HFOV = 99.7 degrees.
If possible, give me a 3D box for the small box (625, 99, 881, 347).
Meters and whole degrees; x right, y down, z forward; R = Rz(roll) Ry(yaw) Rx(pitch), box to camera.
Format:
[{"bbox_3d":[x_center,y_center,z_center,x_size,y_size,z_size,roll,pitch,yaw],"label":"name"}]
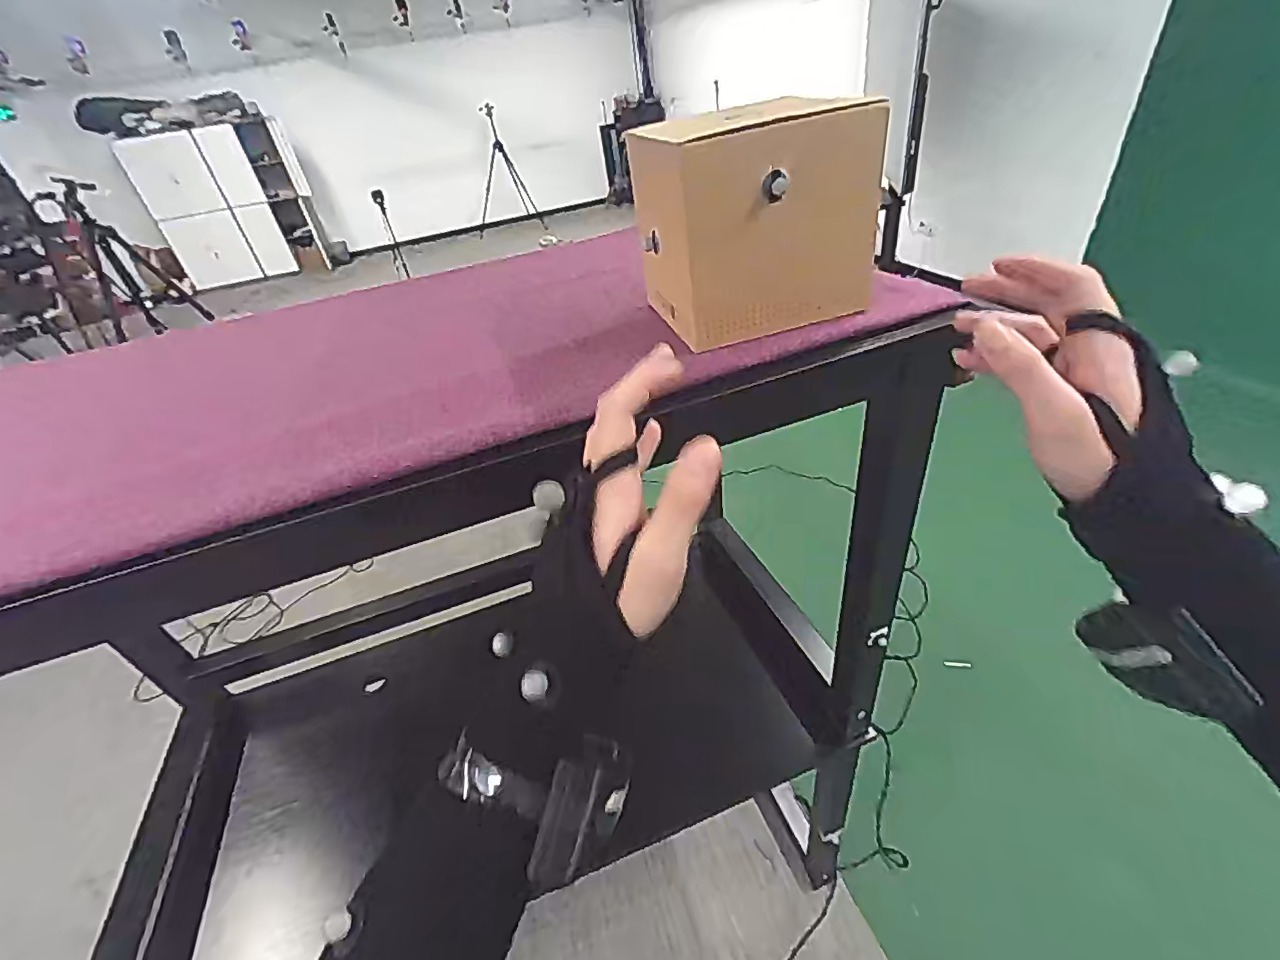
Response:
[{"bbox_3d":[0.099,-0.243,0.513,0.179,0.176,0.168,-15,38,-6],"label":"small box"}]
